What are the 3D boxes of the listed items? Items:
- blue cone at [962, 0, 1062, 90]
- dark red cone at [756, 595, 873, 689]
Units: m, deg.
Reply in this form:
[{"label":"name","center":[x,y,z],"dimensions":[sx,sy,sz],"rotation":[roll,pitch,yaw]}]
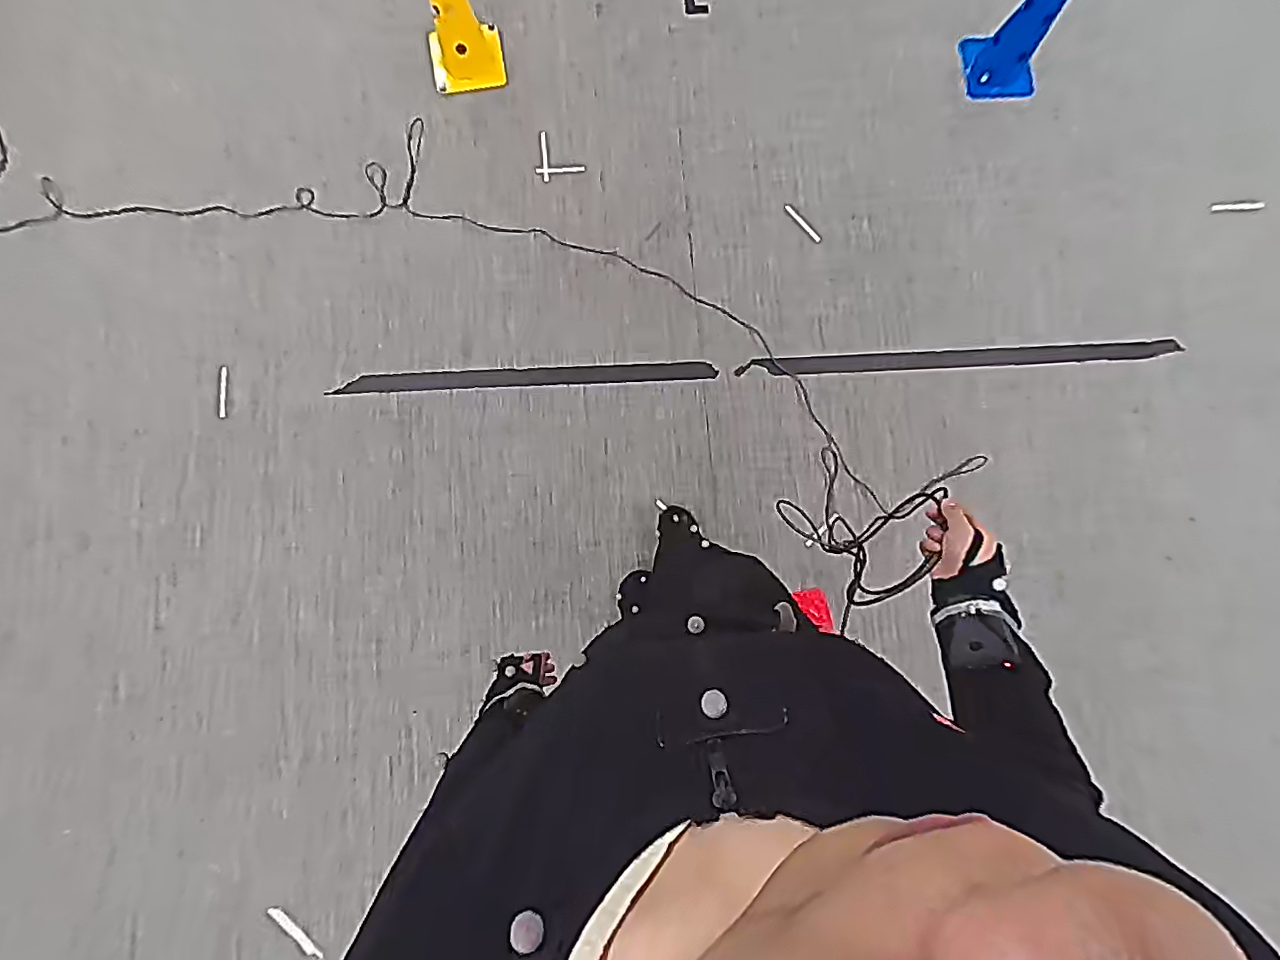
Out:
[{"label":"blue cone","center":[1.048,-1.246,1.415],"dimensions":[0.193,0.380,0.192],"rotation":[-3,81,-2]},{"label":"dark red cone","center":[0.397,0.369,1.156],"dimensions":[0.202,0.394,0.201],"rotation":[-11,82,-3]}]
